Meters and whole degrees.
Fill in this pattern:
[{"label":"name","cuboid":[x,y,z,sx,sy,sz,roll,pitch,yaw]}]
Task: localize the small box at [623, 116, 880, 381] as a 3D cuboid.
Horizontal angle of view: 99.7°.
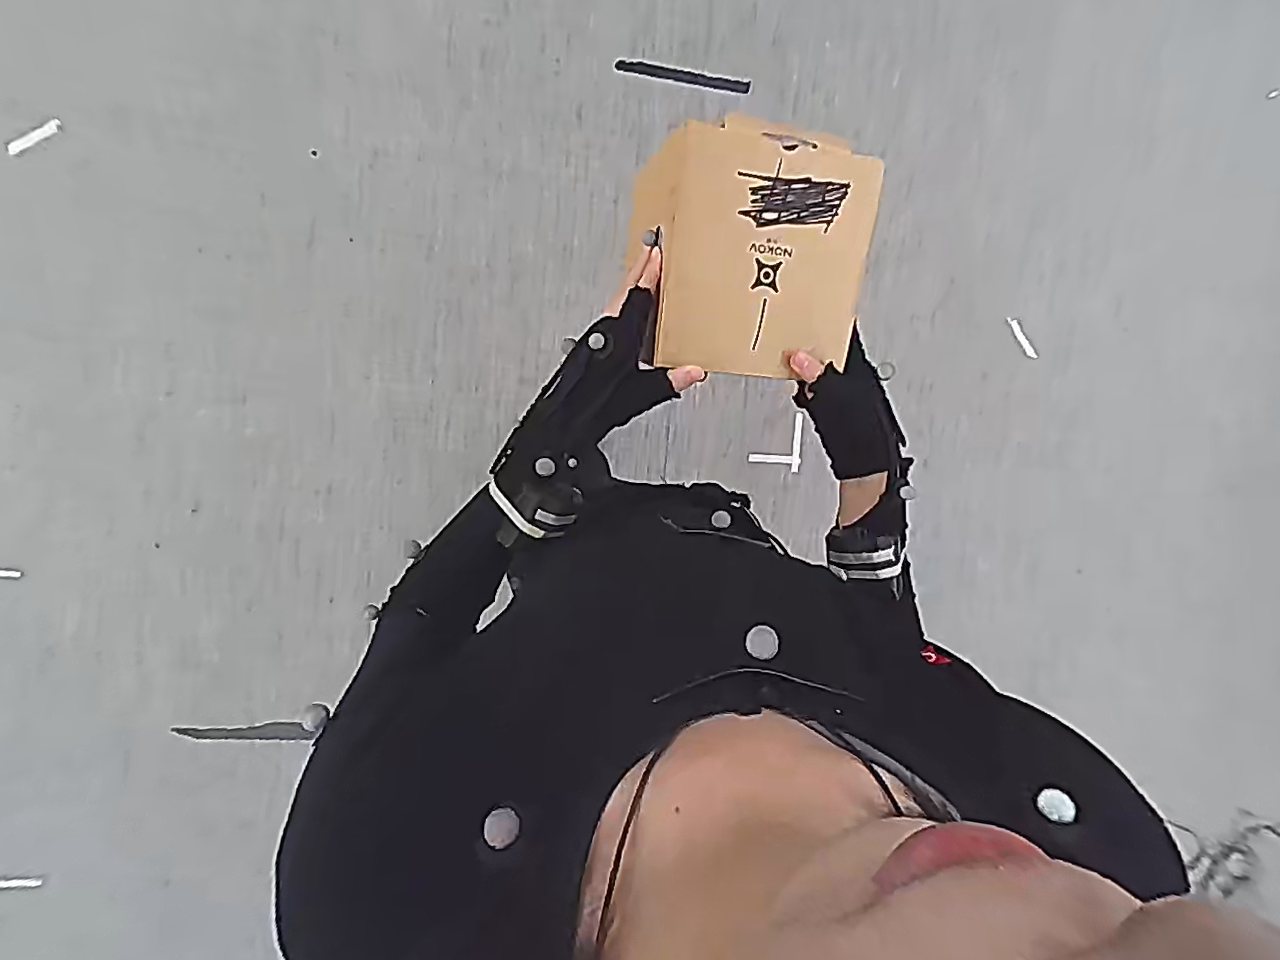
[{"label":"small box","cuboid":[0.083,-0.194,0.497,0.168,0.176,0.179,3,106,-12]}]
